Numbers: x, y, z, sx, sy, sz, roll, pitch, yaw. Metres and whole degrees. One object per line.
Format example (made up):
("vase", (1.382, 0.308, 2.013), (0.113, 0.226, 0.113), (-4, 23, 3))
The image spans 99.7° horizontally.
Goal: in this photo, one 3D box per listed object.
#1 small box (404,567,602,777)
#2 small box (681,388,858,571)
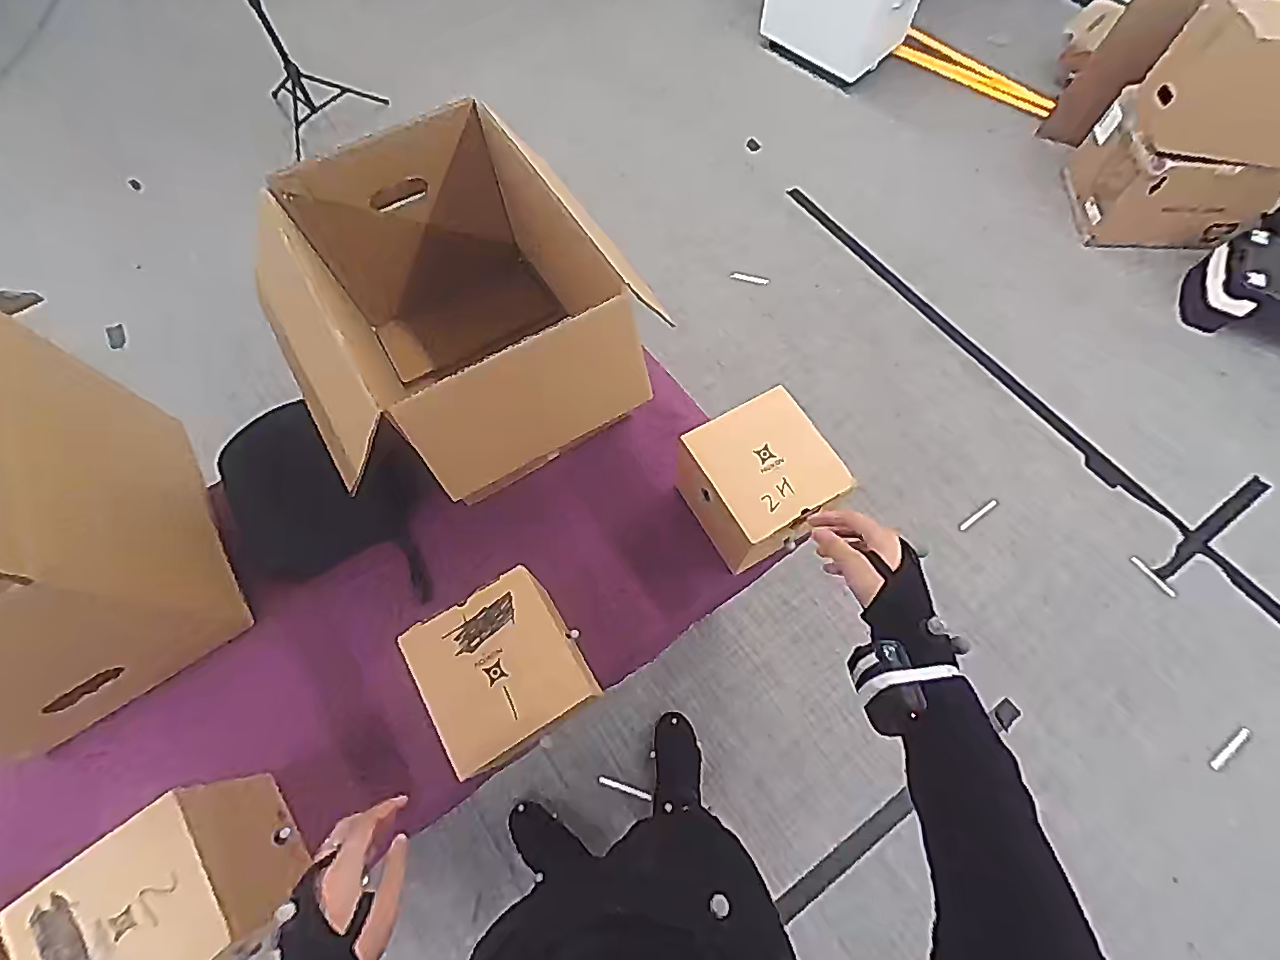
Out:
("small box", (-0.162, 0.241, 0.688), (0.168, 0.176, 0.179), (-30, 71, -10))
("small box", (0.169, 0.007, 0.778), (0.168, 0.176, 0.179), (-28, 70, -9))
